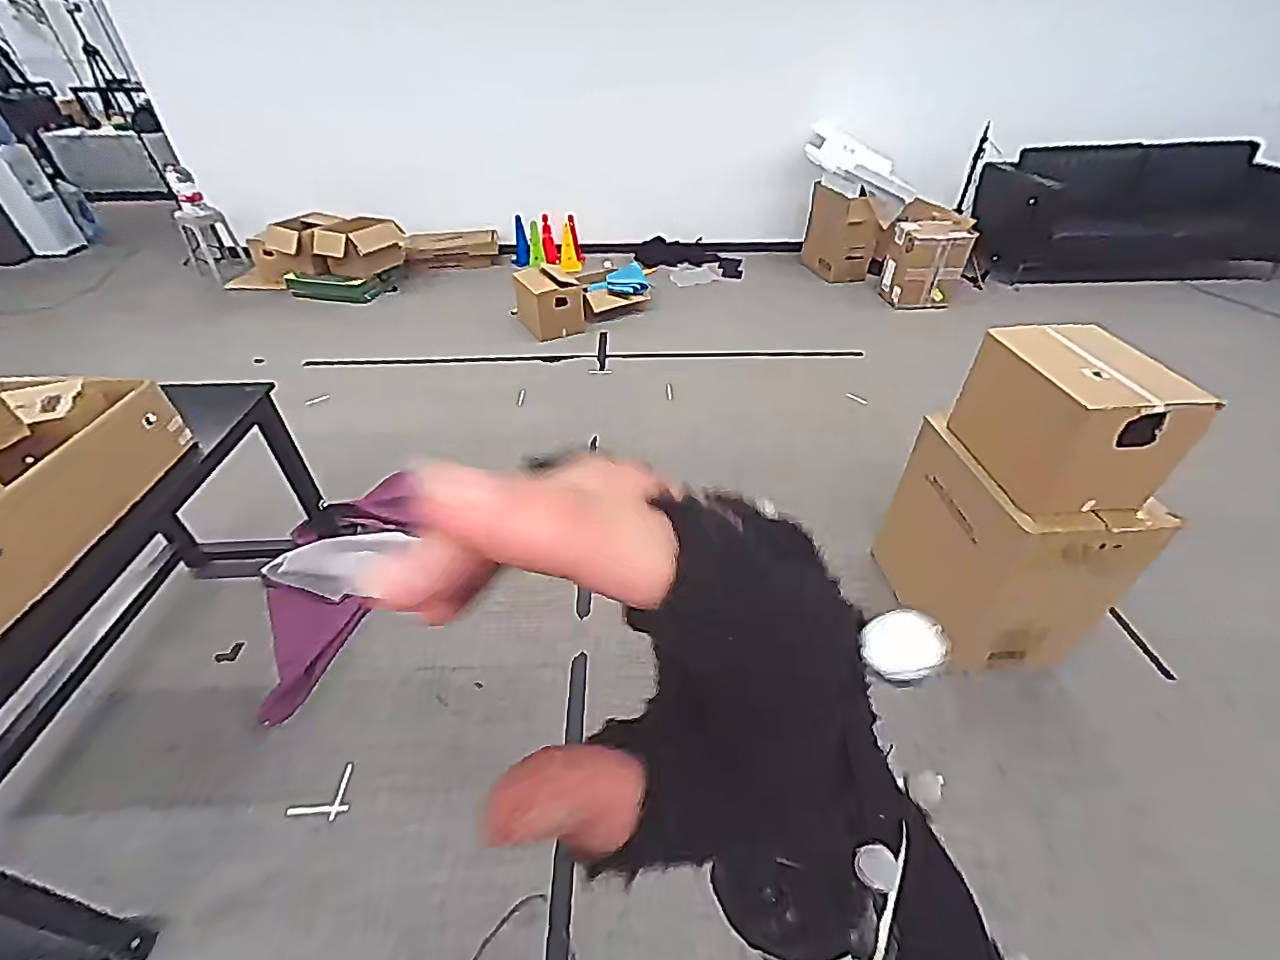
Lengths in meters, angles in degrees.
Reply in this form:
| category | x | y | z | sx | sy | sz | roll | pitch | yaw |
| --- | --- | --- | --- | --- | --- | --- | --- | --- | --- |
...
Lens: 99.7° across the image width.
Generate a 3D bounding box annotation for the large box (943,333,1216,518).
| category | x | y | z | sx | sy | sz | roll | pitch | yaw |
| --- | --- | --- | --- | --- | --- | --- | --- | --- | --- |
| large box | 1.085 | -0.153 | 1.411 | 0.320 | 0.320 | 0.408 | -4 | 40 | -4 |
